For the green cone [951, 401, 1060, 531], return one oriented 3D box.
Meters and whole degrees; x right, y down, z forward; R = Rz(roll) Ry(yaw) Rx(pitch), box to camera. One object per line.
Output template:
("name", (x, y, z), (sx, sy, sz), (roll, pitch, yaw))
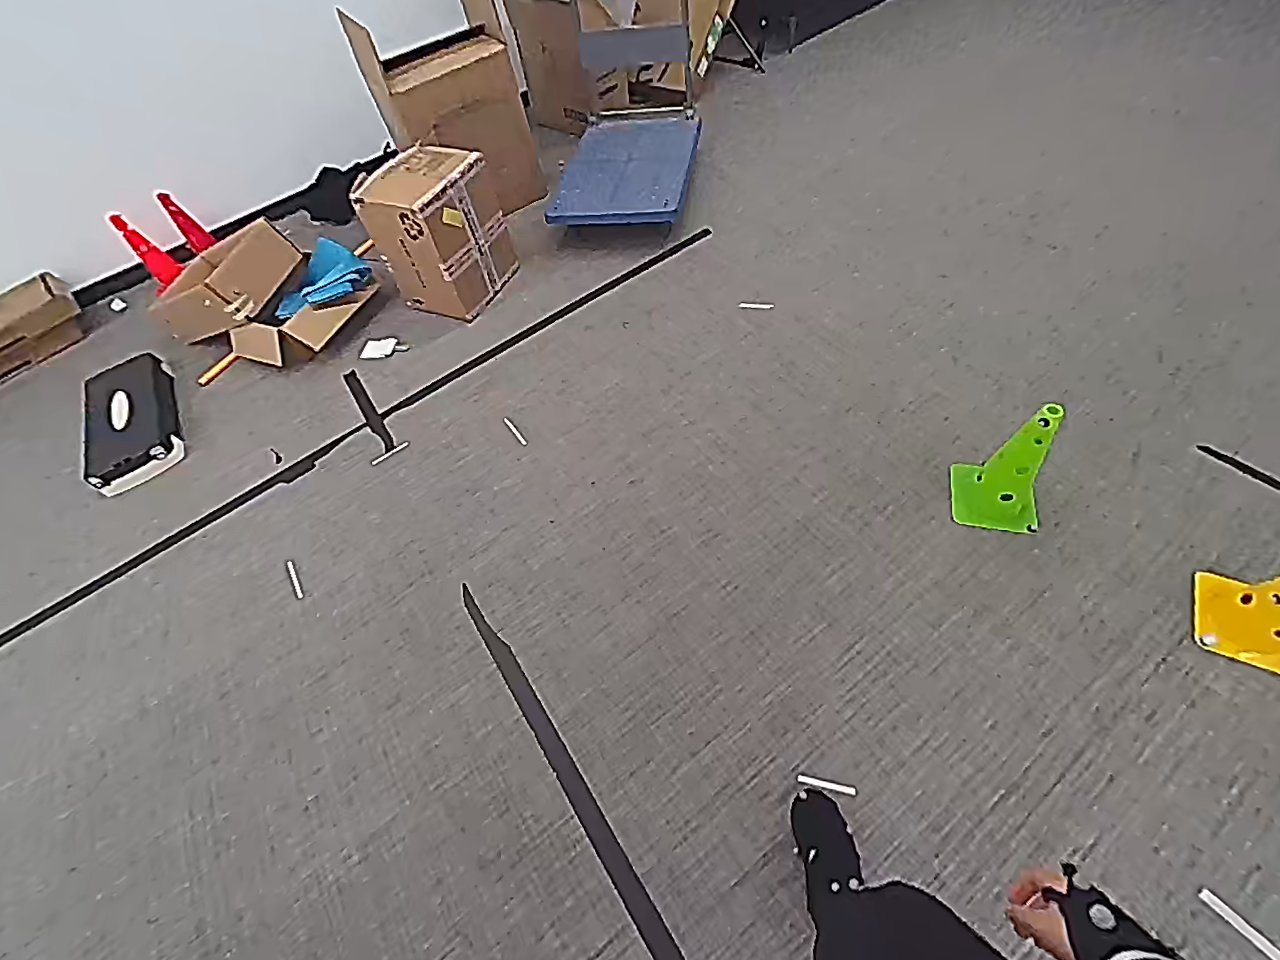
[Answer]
("green cone", (0.929, -0.057, 1.322), (0.202, 0.368, 0.200), (7, 56, 16))
